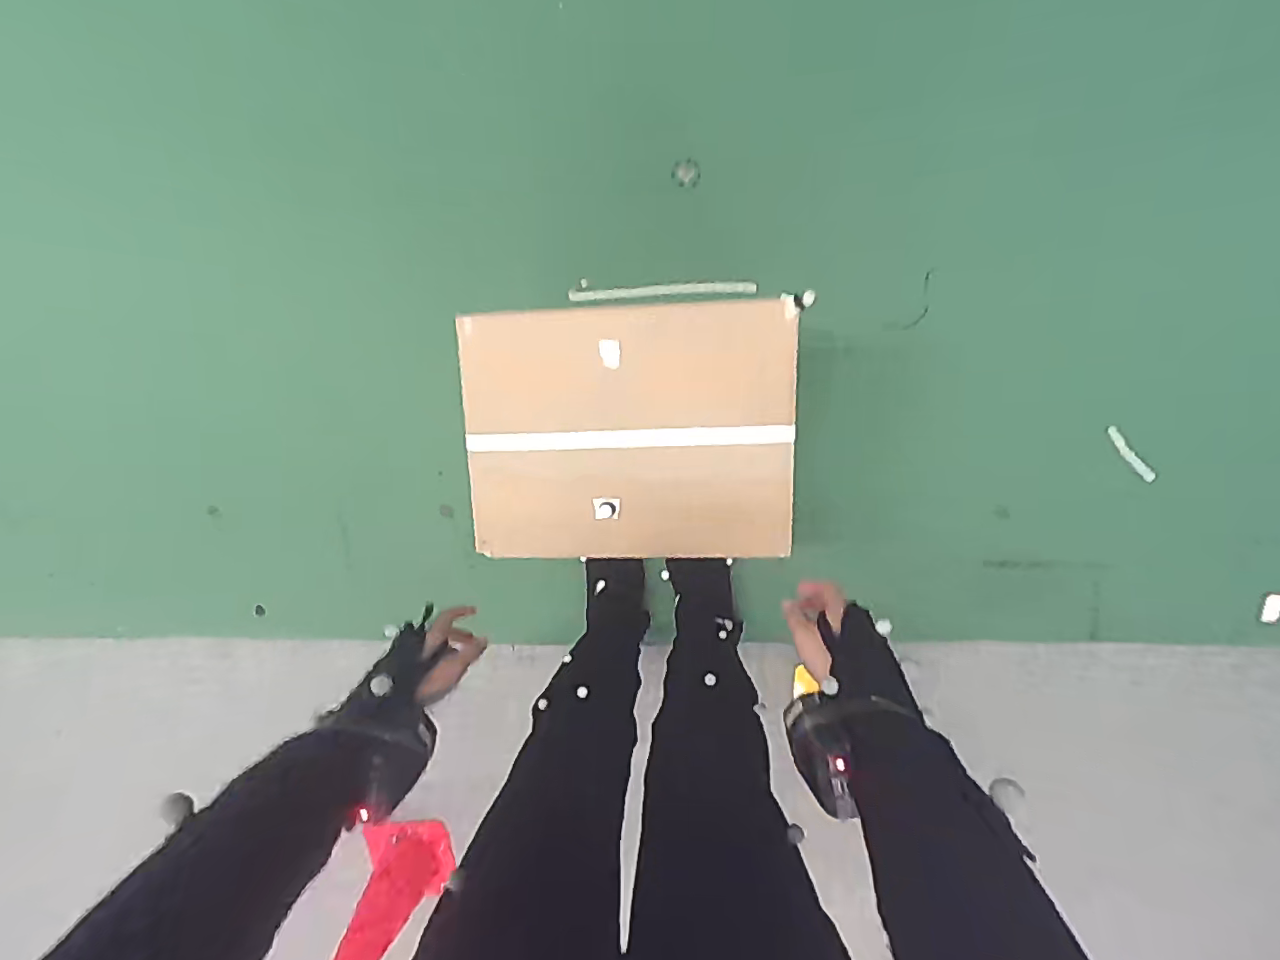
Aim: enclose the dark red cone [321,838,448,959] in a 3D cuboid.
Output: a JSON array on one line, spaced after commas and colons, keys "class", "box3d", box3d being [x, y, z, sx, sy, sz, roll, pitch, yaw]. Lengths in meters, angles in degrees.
[{"class": "dark red cone", "box3d": [-0.545, 0.898, 1.021, 0.202, 0.394, 0.201, -9, 98, 9]}]
